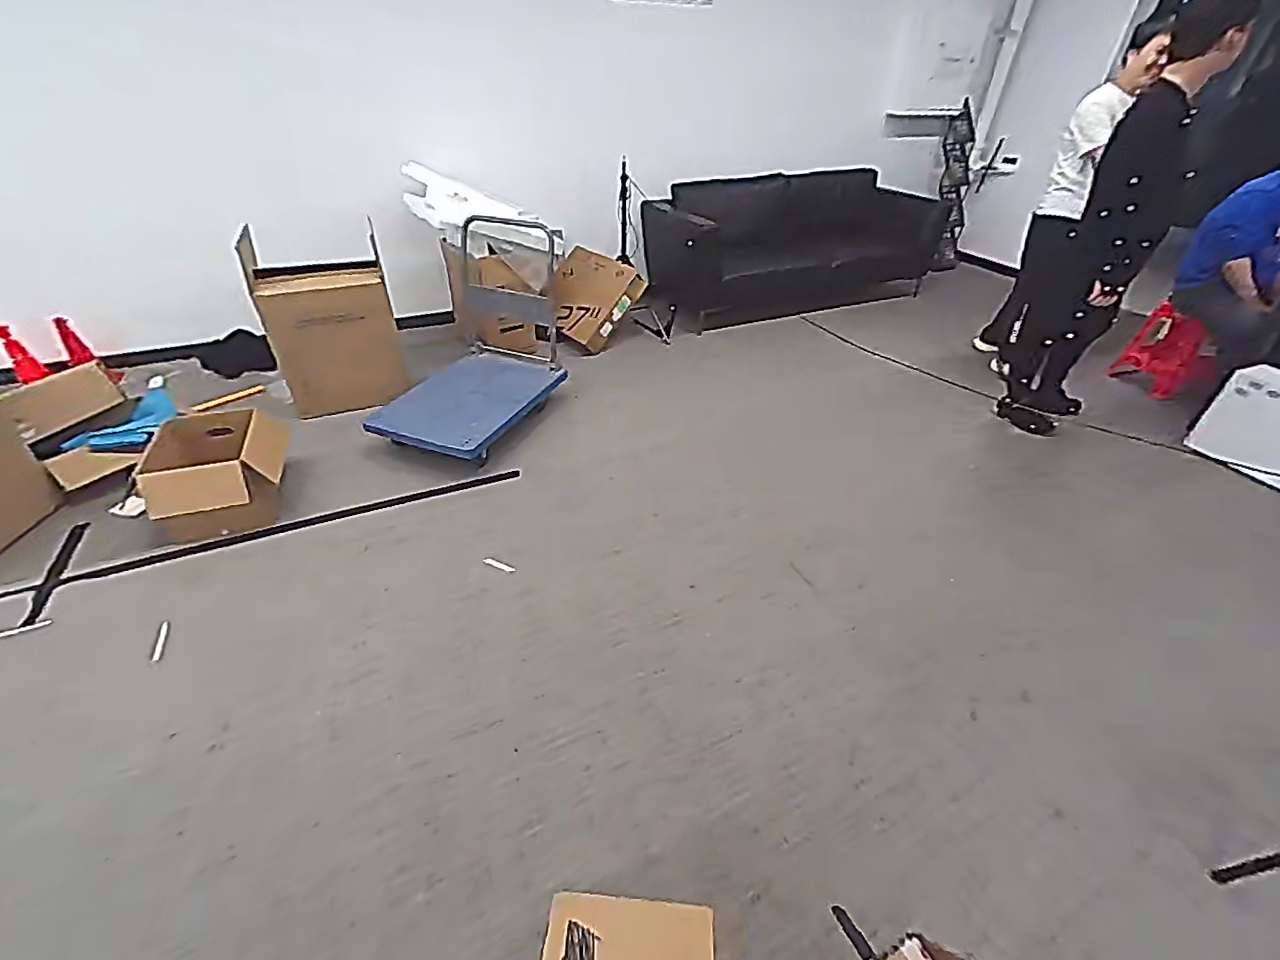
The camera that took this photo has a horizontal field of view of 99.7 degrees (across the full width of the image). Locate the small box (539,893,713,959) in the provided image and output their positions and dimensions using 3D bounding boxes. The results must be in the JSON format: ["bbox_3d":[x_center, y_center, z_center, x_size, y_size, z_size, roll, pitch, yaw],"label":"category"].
[{"bbox_3d":[-0.016,0.562,0.543,0.179,0.176,0.168,2,23,5],"label":"small box"}]
